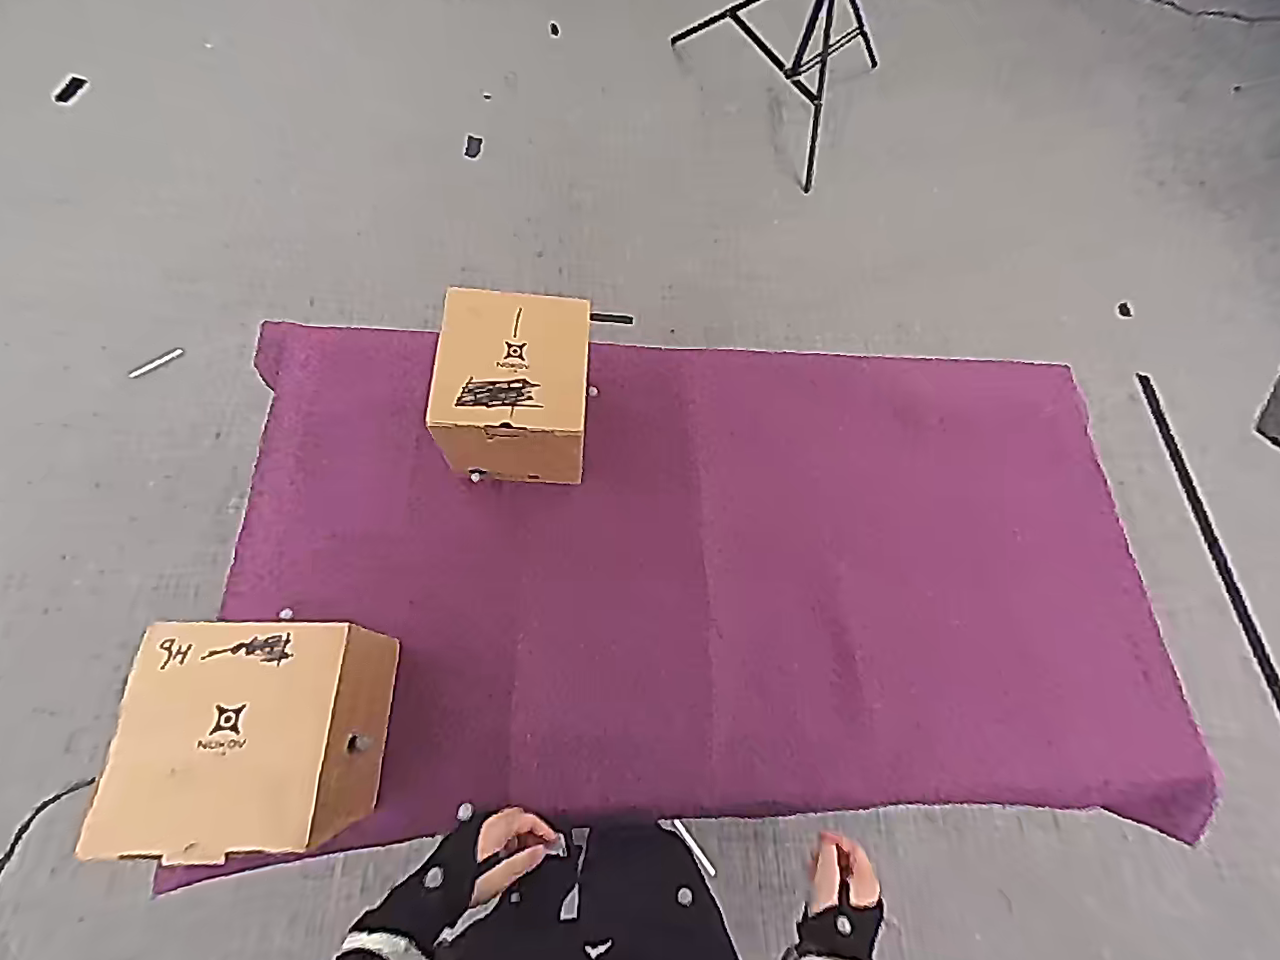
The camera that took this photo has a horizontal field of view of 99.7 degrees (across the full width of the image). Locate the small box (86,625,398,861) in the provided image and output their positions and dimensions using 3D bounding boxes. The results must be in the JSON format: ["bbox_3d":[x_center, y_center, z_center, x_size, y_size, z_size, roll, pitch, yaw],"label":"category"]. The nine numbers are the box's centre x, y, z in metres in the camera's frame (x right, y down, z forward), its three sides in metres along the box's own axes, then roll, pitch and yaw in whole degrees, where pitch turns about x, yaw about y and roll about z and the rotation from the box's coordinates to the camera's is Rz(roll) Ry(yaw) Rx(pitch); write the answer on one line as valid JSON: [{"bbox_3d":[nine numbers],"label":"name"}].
[{"bbox_3d":[-0.349,0.237,0.520,0.168,0.176,0.179,2,69,-7],"label":"small box"}]

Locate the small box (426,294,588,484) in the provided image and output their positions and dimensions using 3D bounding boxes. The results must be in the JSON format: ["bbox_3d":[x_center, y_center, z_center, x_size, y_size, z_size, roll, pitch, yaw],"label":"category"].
[{"bbox_3d":[-0.153,-0.103,0.679,0.168,0.176,0.179,3,69,-7],"label":"small box"}]
